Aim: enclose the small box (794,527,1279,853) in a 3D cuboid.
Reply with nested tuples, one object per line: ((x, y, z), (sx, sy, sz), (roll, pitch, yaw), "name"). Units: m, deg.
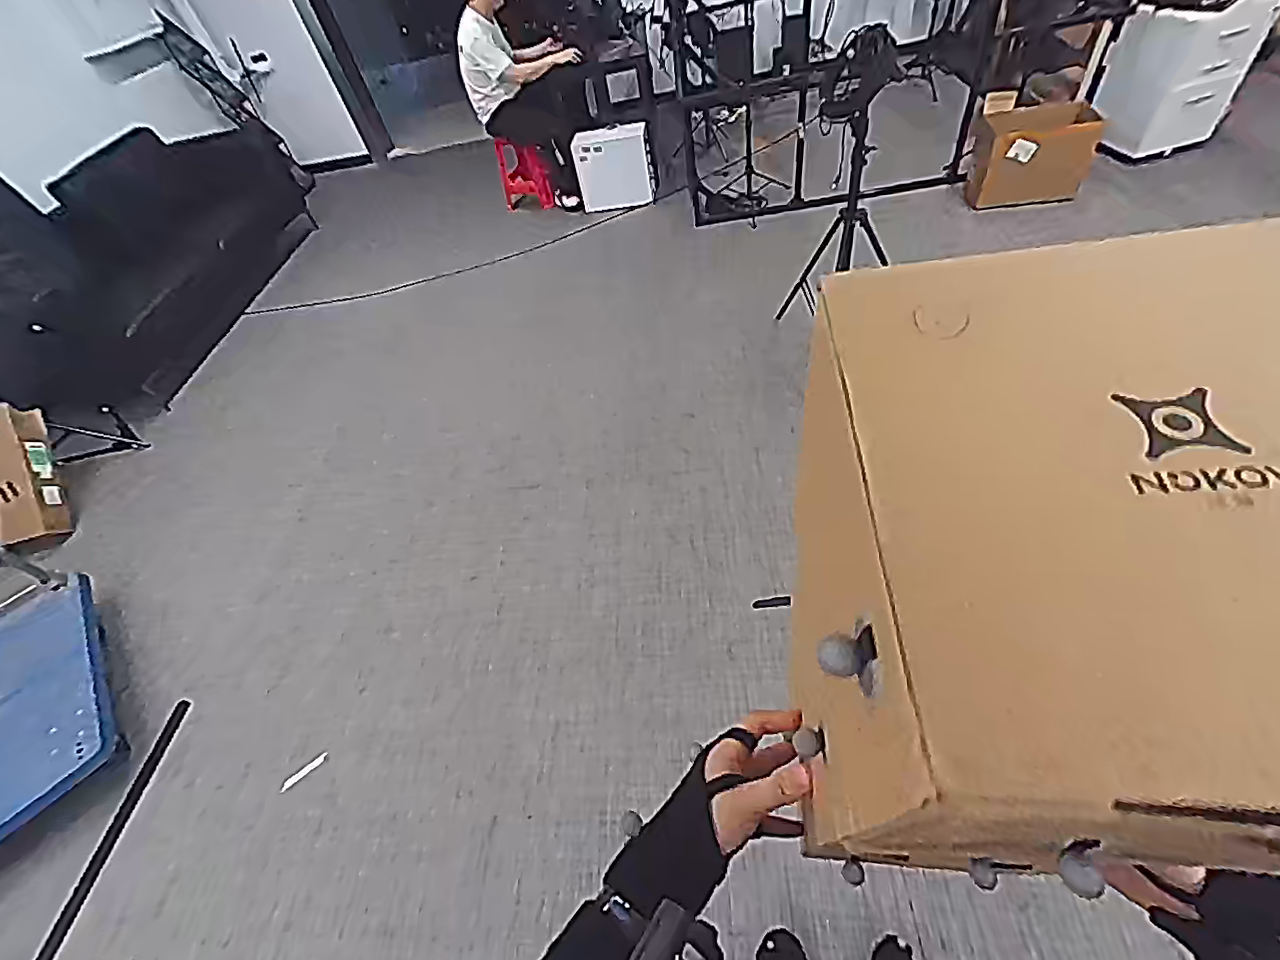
((0.192, 0.122, 0.336), (0.168, 0.176, 0.179), (-3, 54, 9), "small box")

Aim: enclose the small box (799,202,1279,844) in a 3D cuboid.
((0.159, 0.028, 0.207), (0.168, 0.176, 0.179), (-4, 55, 10), "small box")
